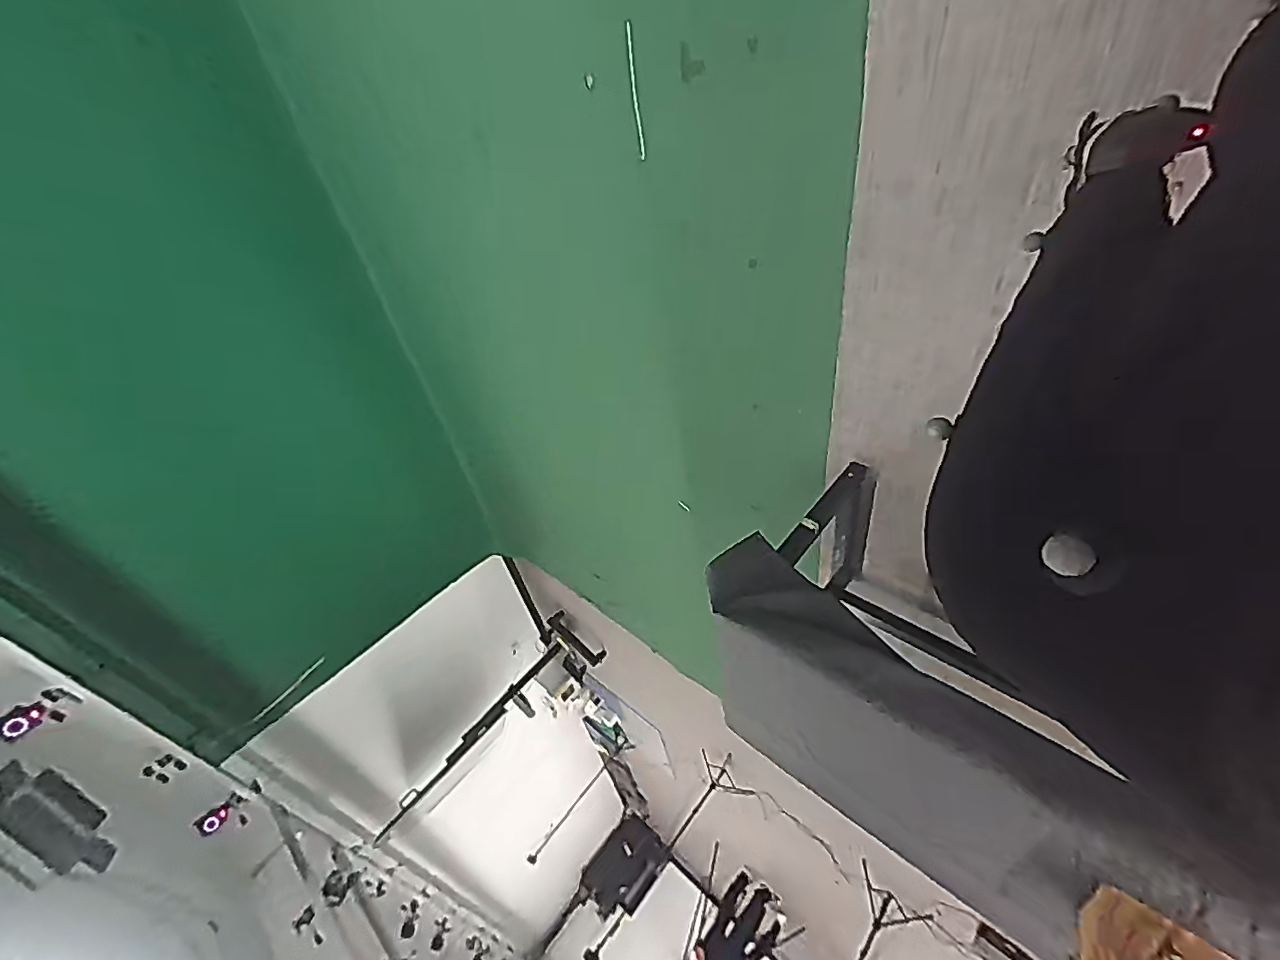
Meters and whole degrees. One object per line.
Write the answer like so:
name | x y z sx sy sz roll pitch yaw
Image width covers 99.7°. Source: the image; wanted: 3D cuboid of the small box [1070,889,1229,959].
small box | 0.833 0.833 0.891 0.168 0.176 0.179 22 140 40
